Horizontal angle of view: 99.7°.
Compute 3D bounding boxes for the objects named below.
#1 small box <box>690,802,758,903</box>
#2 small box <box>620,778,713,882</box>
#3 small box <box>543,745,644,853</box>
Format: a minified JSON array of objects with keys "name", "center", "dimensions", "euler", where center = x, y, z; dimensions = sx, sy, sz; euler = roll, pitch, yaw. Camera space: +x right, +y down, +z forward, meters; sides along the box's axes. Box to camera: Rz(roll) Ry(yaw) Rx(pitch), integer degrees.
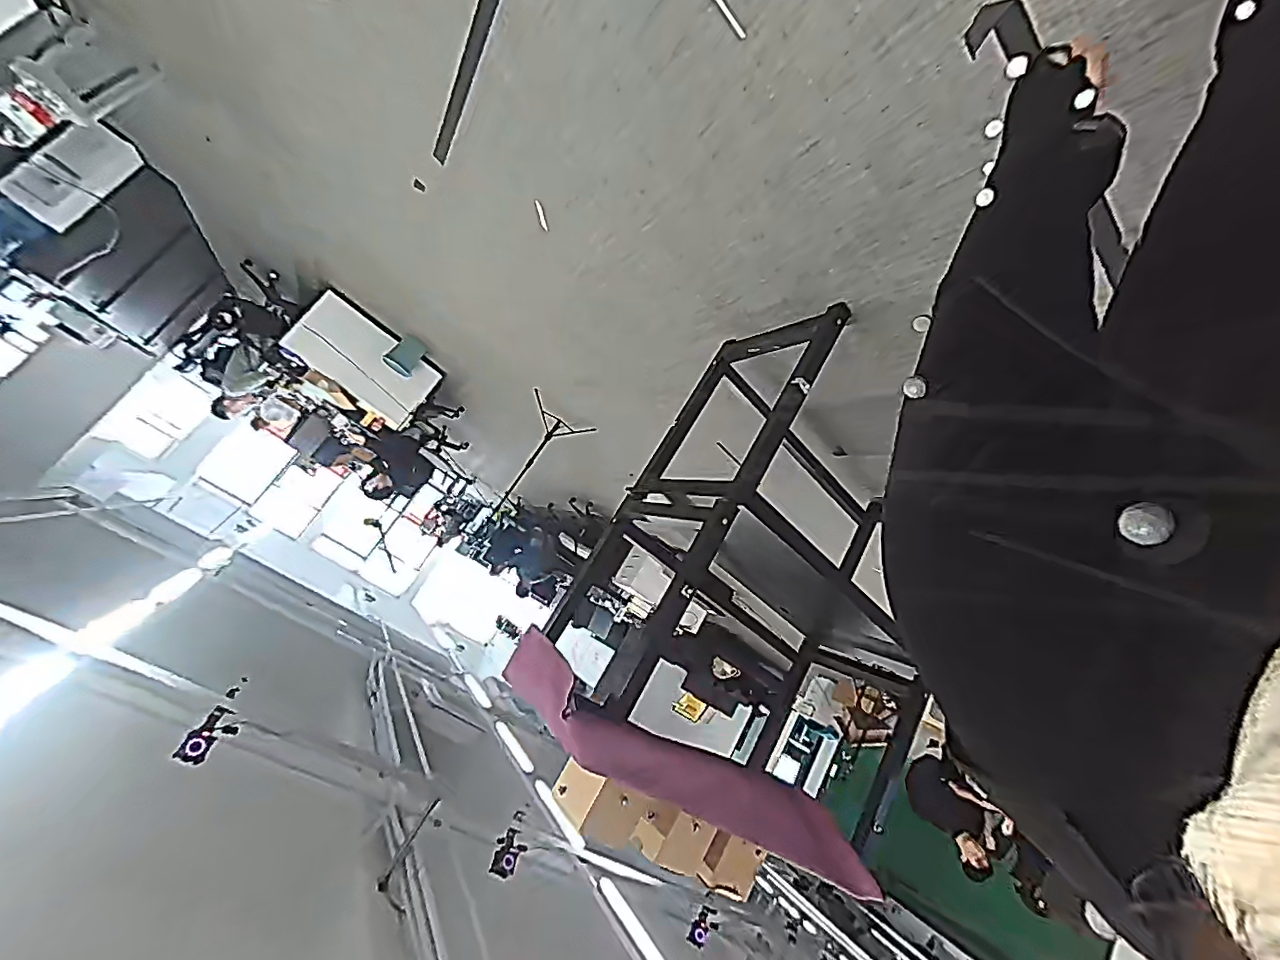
[{"name":"small box","center":[0.231,1.119,1.636],"dimensions":[0.168,0.176,0.179],"euler":[39,163,-21]},{"name":"small box","center":[0.071,0.984,1.535],"dimensions":[0.179,0.176,0.168],"euler":[42,162,-28]},{"name":"small box","center":[-0.120,0.828,1.425],"dimensions":[0.168,0.176,0.179],"euler":[40,162,-28]}]
